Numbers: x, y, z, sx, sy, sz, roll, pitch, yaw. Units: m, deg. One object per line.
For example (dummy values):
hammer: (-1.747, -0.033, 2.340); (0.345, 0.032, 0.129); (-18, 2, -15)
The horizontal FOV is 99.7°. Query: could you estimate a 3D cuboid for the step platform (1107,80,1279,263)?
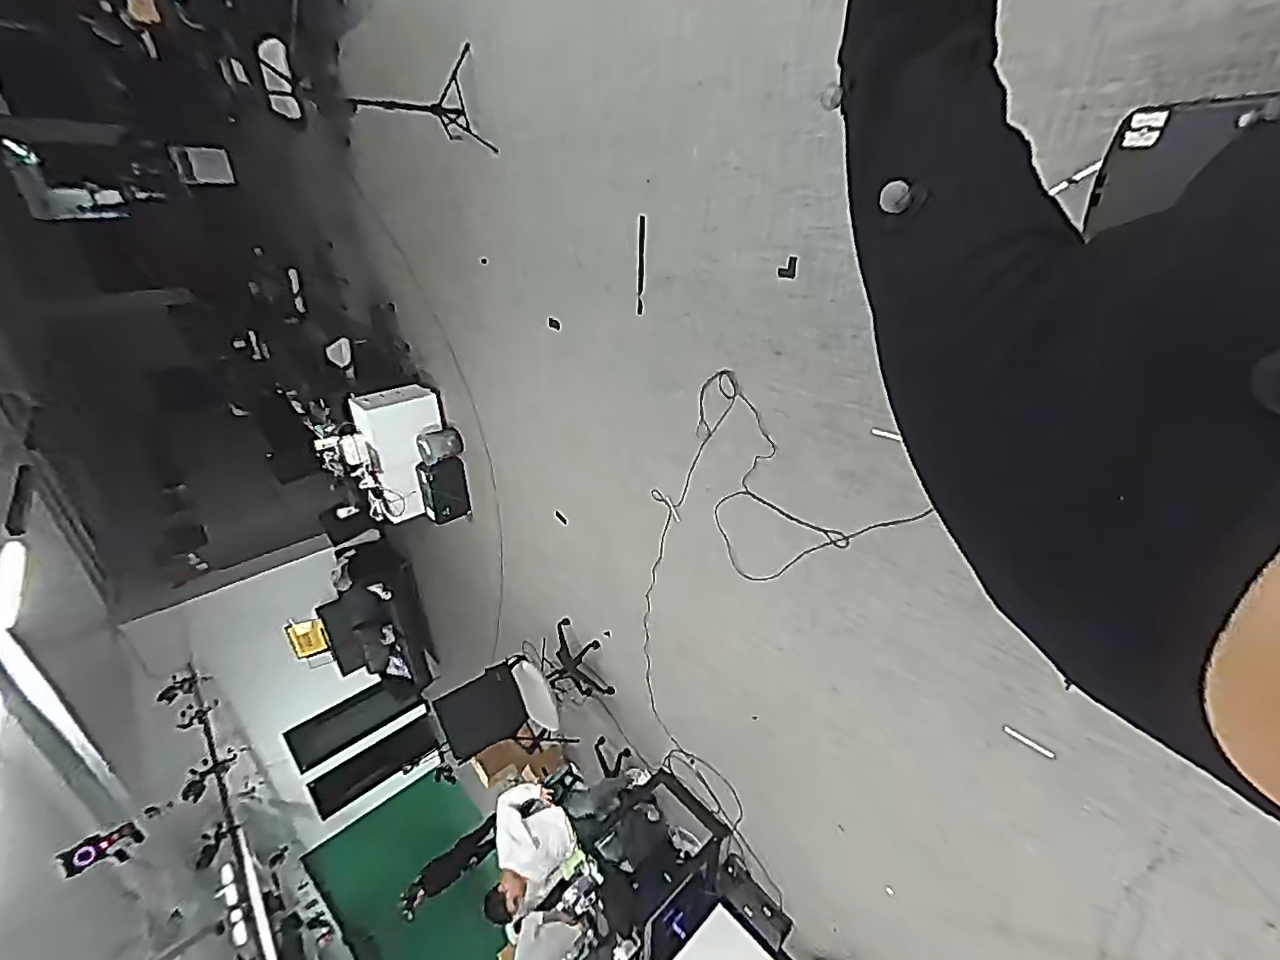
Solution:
step platform: (1.225, -0.511, 0.889); (0.684, 0.204, 0.286); (24, 127, 41)
